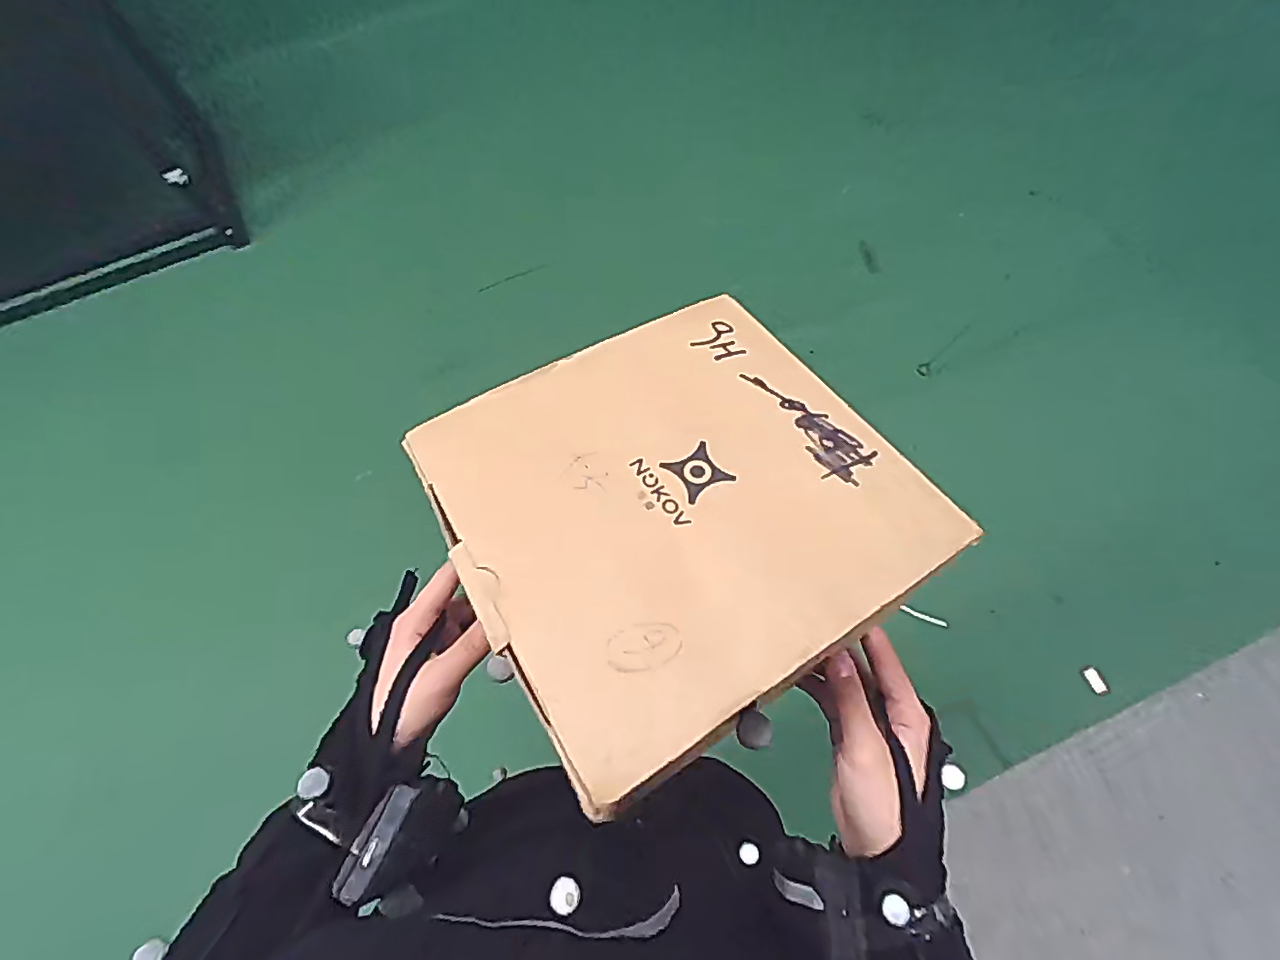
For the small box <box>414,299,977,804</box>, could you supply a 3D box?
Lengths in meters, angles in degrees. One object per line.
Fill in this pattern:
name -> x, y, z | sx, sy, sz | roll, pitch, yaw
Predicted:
small box -> 0.017, 0.045, 0.286 | 0.179, 0.176, 0.168 | -28, 62, -16
